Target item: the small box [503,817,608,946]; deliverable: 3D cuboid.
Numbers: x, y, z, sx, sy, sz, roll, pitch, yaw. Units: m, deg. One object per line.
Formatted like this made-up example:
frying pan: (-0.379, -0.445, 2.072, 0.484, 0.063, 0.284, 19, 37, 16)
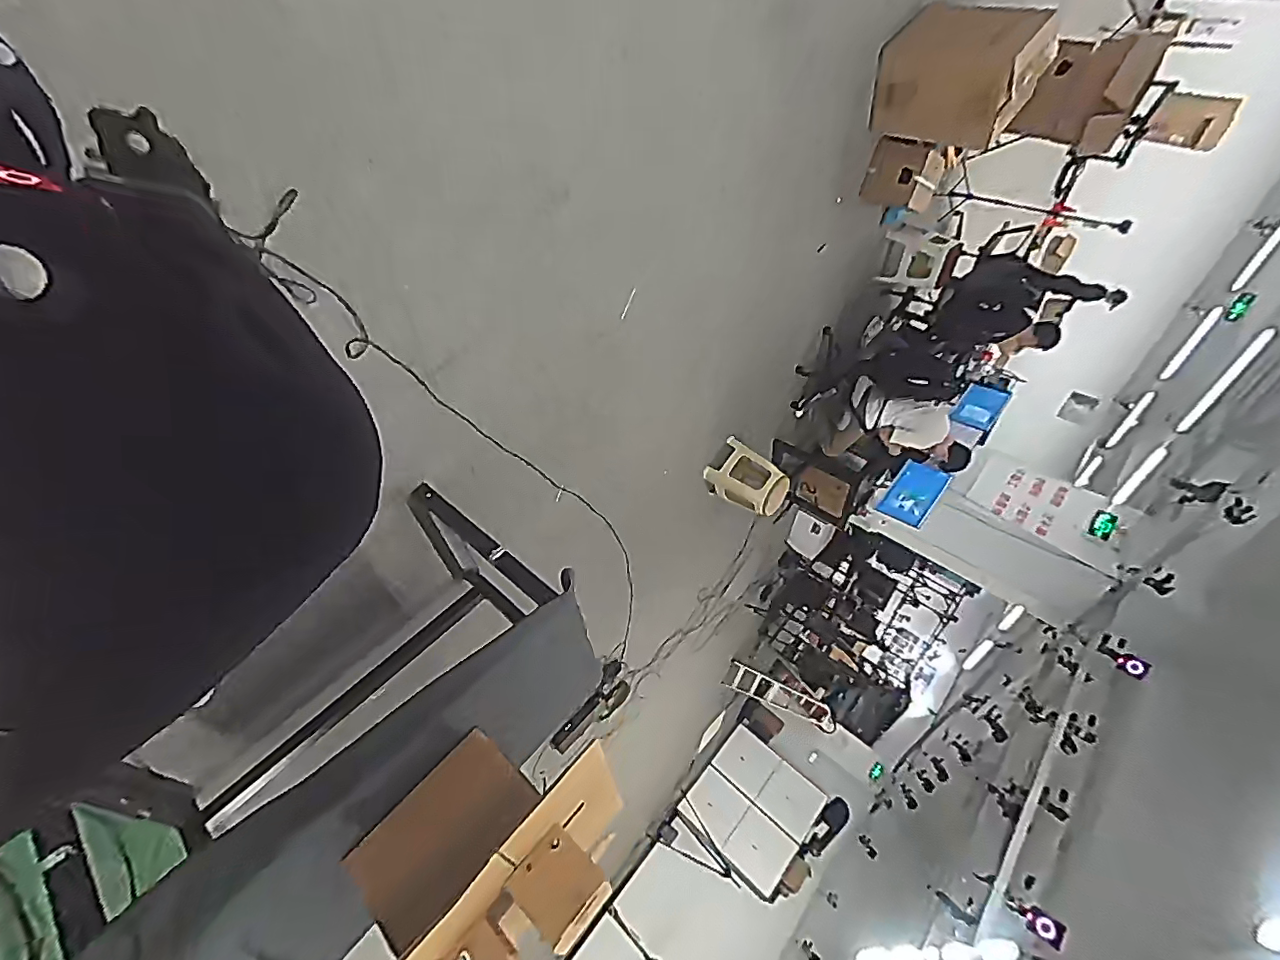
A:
small box: (-0.196, 0.933, 1.265, 0.168, 0.176, 0.179, -39, 146, -29)
